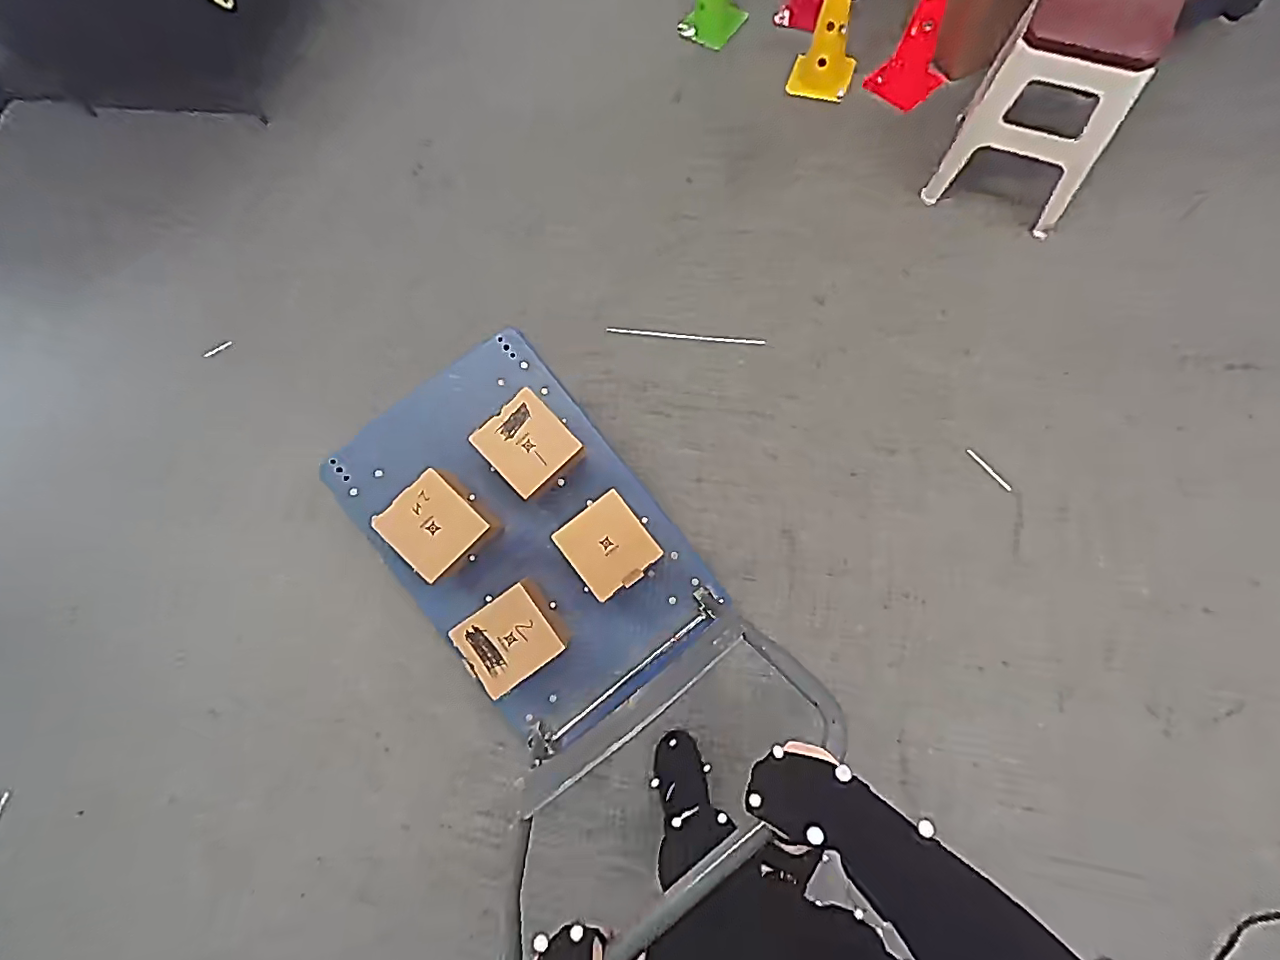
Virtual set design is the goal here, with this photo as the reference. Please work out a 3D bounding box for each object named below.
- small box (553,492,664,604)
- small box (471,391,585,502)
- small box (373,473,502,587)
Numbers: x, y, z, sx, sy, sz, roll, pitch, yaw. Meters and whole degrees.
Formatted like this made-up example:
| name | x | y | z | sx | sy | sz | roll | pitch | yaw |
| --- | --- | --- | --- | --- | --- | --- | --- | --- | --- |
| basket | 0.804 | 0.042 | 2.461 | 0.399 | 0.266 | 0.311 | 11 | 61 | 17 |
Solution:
| name | x | y | z | sx | sy | sz | roll | pitch | yaw |
| --- | --- | --- | --- | --- | --- | --- | --- | --- | --- |
| small box | -0.070 | 0.147 | 1.189 | 0.168 | 0.176 | 0.179 | -37 | 89 | -6 |
| small box | -0.238 | -0.064 | 1.195 | 0.168 | 0.176 | 0.179 | -43 | 89 | -6 |
| small box | -0.424 | 0.105 | 1.168 | 0.179 | 0.176 | 0.168 | 45 | 83 | 1 |
